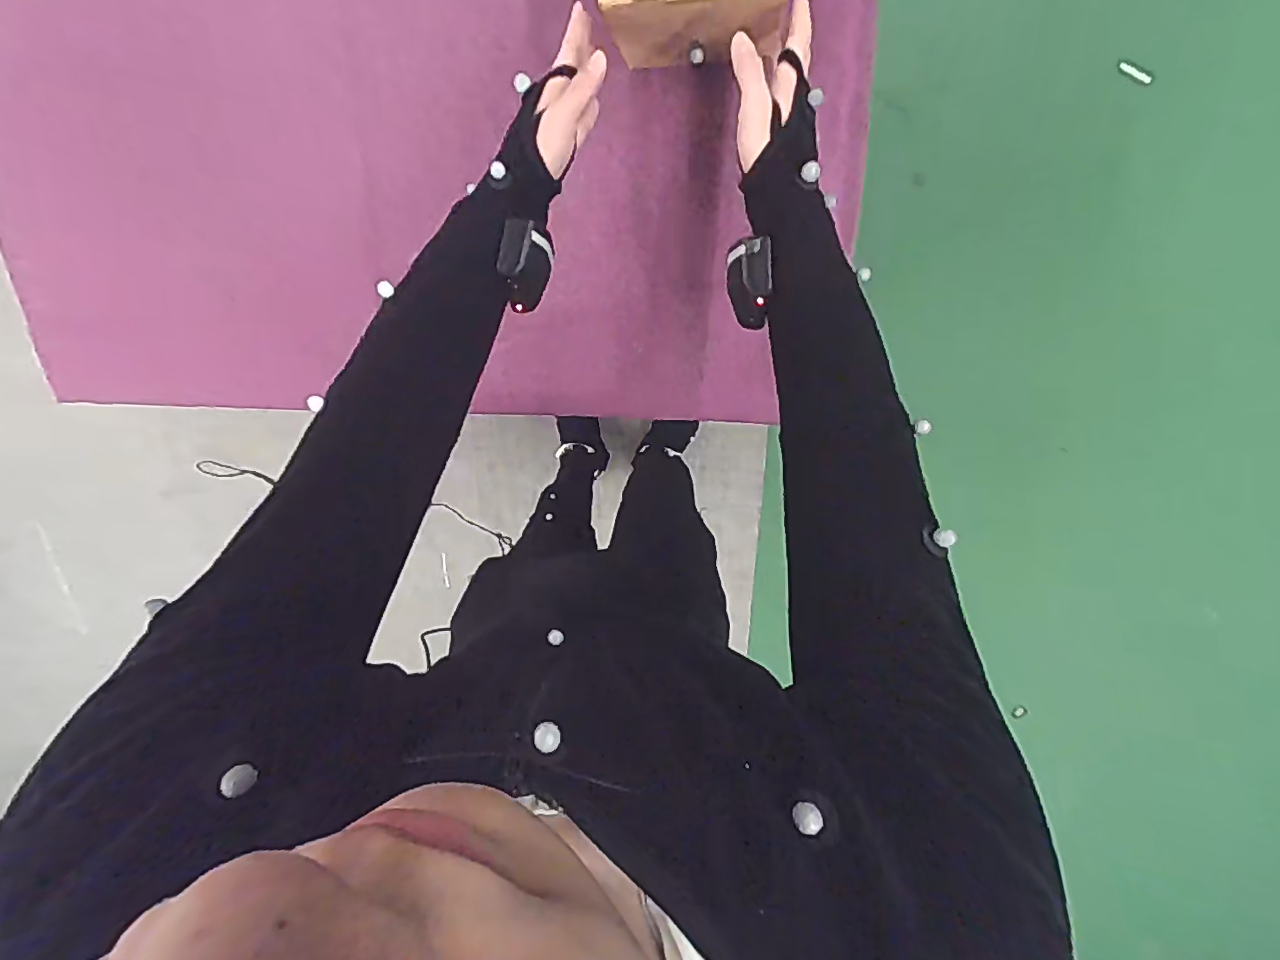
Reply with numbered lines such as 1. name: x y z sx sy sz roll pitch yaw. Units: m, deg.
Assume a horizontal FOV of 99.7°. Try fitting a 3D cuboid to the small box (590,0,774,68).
1. small box: 0.046 -0.529 0.513 0.168 0.176 0.179 2 112 10
